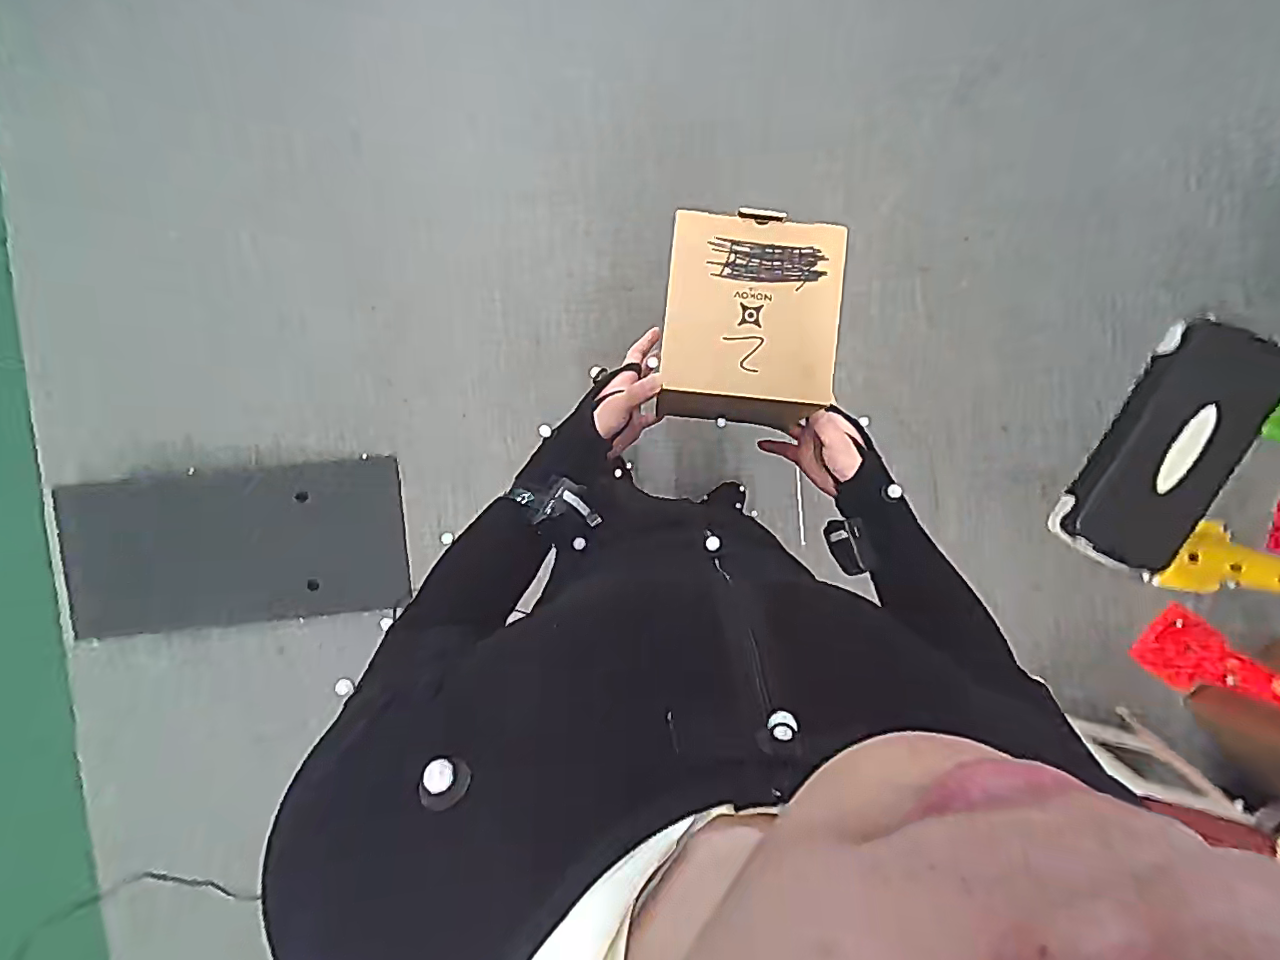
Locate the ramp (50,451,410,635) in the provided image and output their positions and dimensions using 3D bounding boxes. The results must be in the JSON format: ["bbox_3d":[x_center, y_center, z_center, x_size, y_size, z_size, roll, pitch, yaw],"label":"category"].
[{"bbox_3d":[-1.250,0.188,1.676,0.991,0.206,0.509,-6,92,5],"label":"ramp"}]
